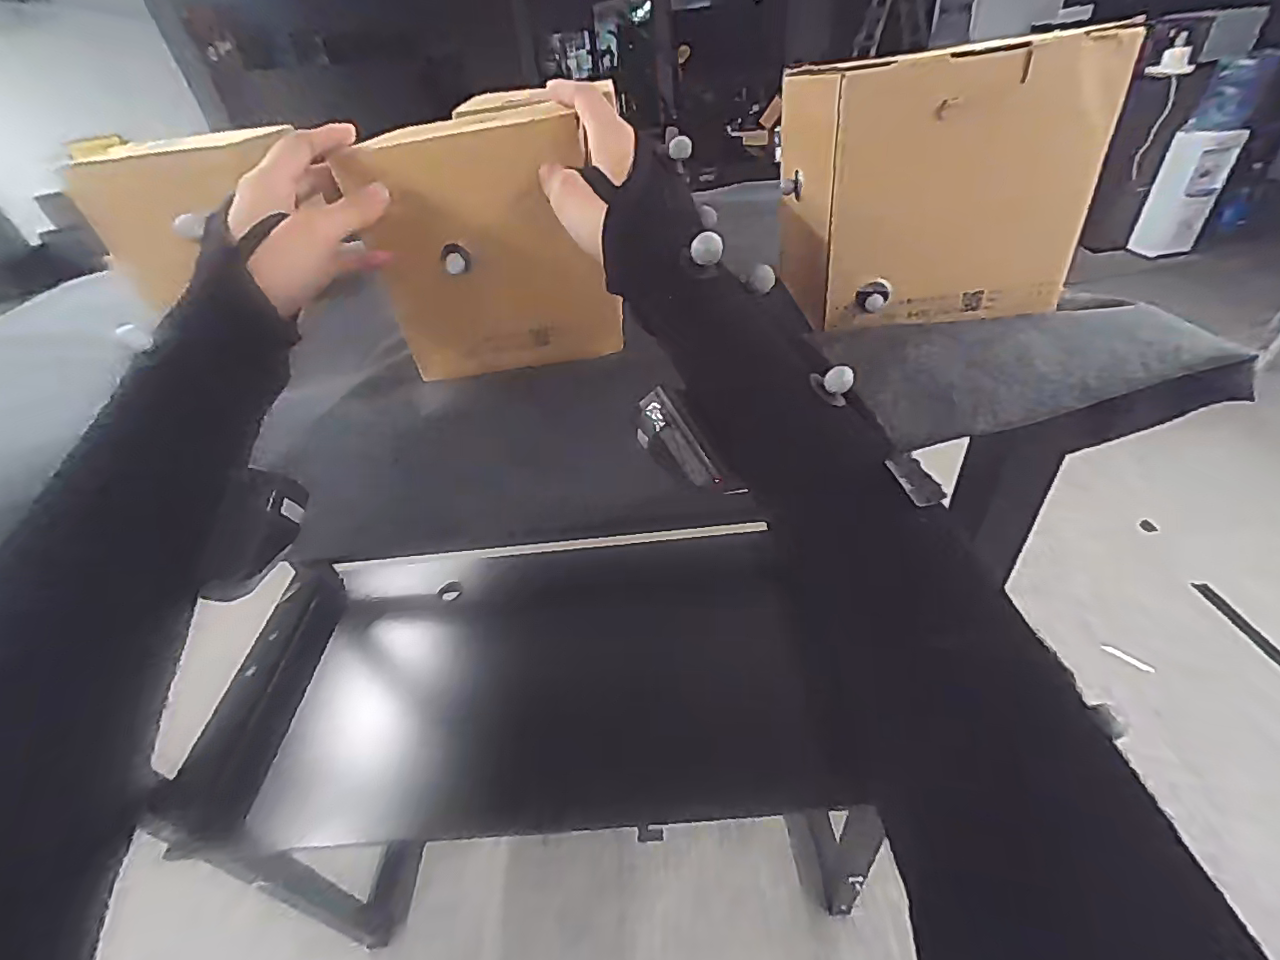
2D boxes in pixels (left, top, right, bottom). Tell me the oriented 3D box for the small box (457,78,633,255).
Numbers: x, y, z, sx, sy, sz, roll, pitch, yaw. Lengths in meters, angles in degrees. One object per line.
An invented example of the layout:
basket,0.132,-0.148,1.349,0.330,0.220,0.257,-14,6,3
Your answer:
small box,-0.100,-0.375,0.657,0.168,0.176,0.179,-7,38,2

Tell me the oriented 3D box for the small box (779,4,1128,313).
small box,0.207,-0.237,0.422,0.168,0.176,0.179,-5,35,5

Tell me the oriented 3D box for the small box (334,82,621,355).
small box,-0.109,-0.215,0.457,0.168,0.176,0.179,-8,37,3
